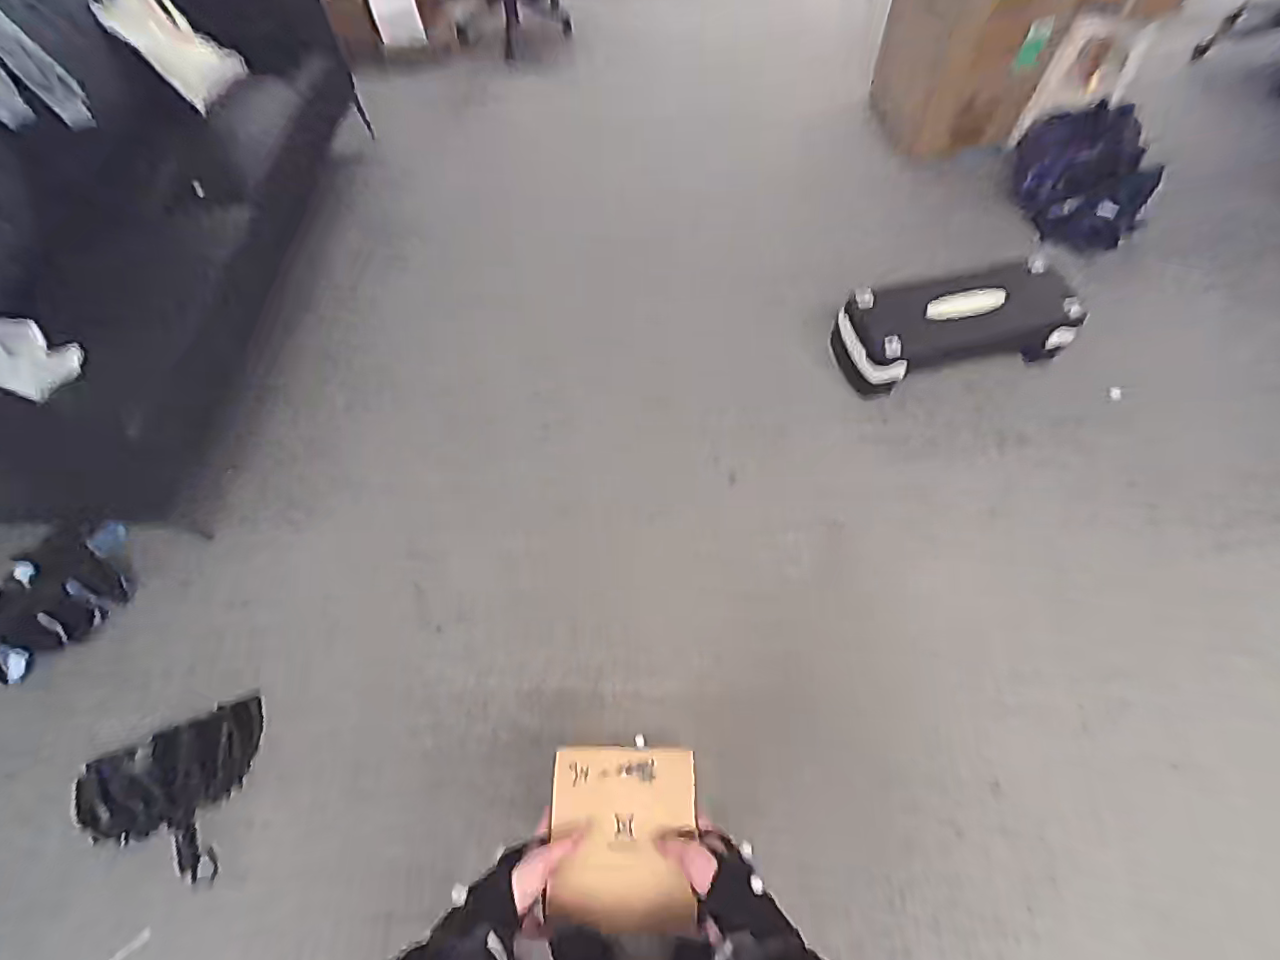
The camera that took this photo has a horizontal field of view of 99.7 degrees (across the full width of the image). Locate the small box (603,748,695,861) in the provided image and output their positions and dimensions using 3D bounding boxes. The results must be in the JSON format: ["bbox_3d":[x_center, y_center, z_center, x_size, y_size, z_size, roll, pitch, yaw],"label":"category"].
[{"bbox_3d":[0.022,0.621,1.052,0.168,0.176,0.179,-1,62,3],"label":"small box"}]
